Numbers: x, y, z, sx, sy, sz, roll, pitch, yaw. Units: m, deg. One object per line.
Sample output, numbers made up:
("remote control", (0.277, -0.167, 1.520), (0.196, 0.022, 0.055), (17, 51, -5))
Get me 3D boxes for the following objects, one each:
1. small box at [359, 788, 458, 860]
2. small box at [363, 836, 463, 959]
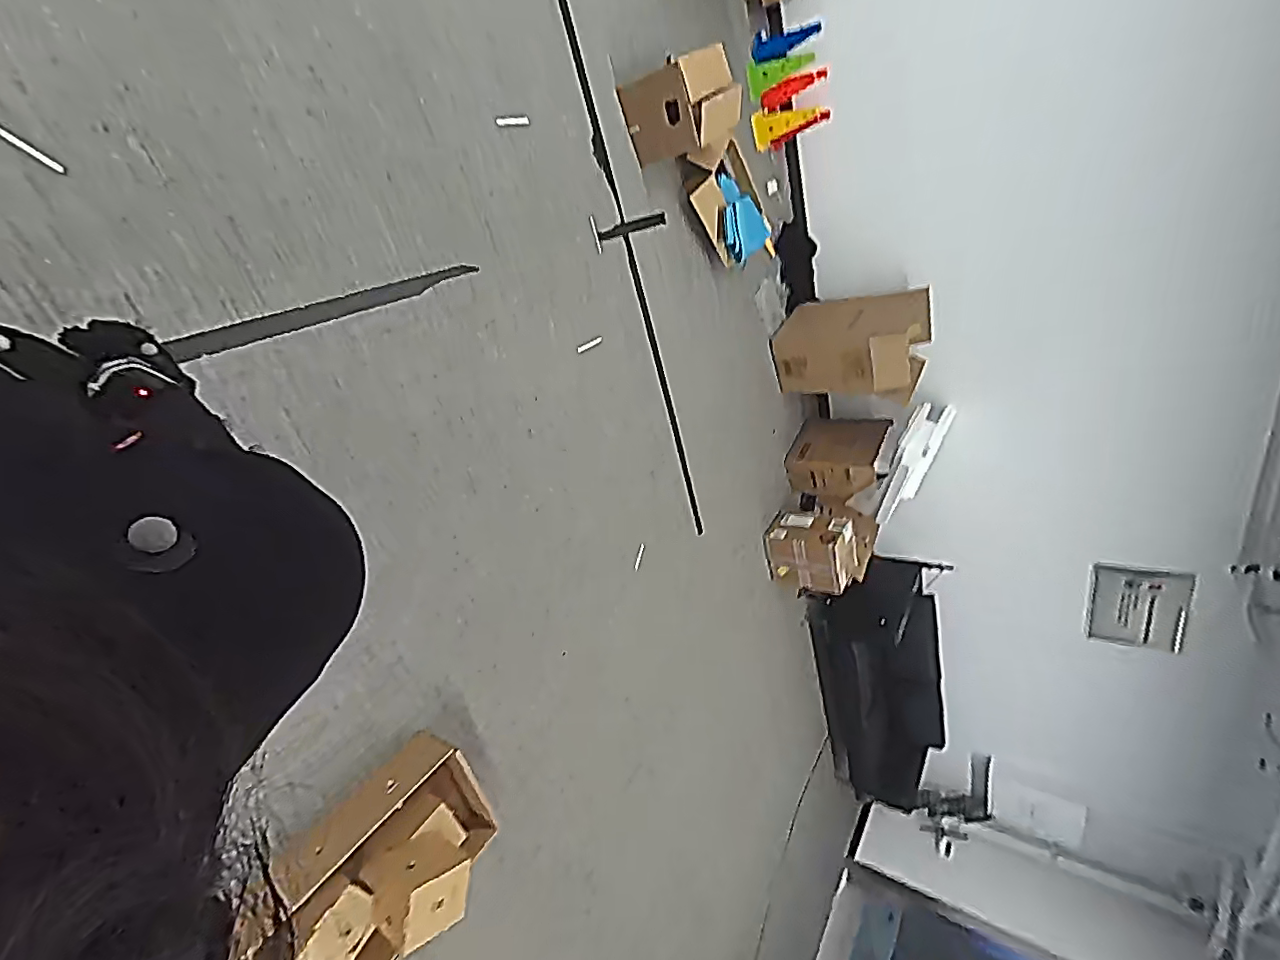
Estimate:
("small box", (-0.674, 1.042, 1.574), (0.168, 0.176, 0.179), (-42, 125, -41))
("small box", (-0.595, 1.082, 1.413), (0.179, 0.176, 0.168), (7, 90, -55))
